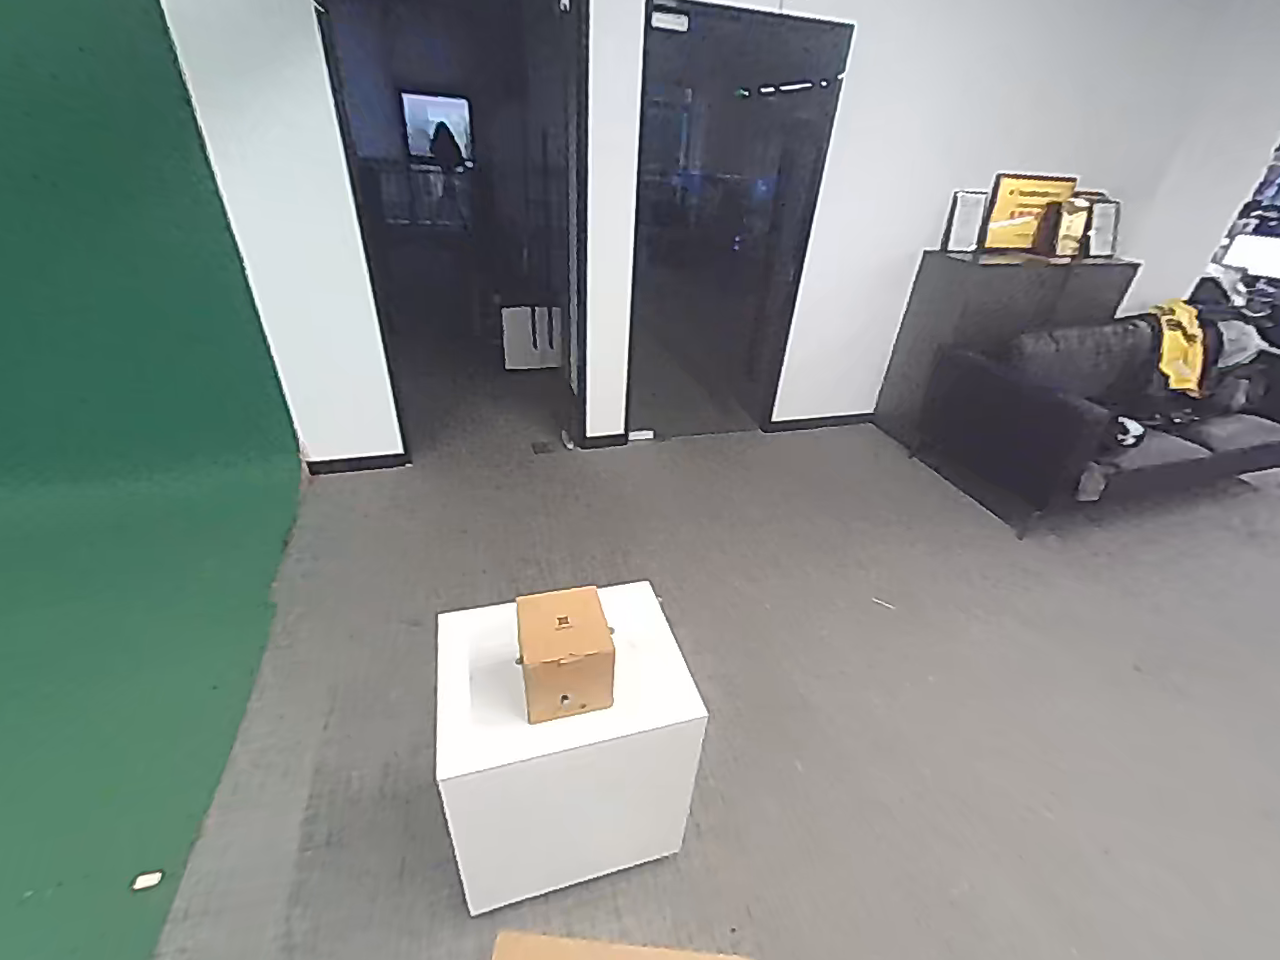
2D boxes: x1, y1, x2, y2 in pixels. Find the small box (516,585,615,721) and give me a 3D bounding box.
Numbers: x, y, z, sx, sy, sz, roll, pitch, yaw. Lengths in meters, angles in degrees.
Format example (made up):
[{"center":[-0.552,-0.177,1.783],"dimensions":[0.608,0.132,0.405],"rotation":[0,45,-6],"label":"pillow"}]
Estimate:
[{"center":[-0.151,0.334,1.060],"dimensions":[0.168,0.176,0.179],"rotation":[-6,33,-16],"label":"small box"}]
